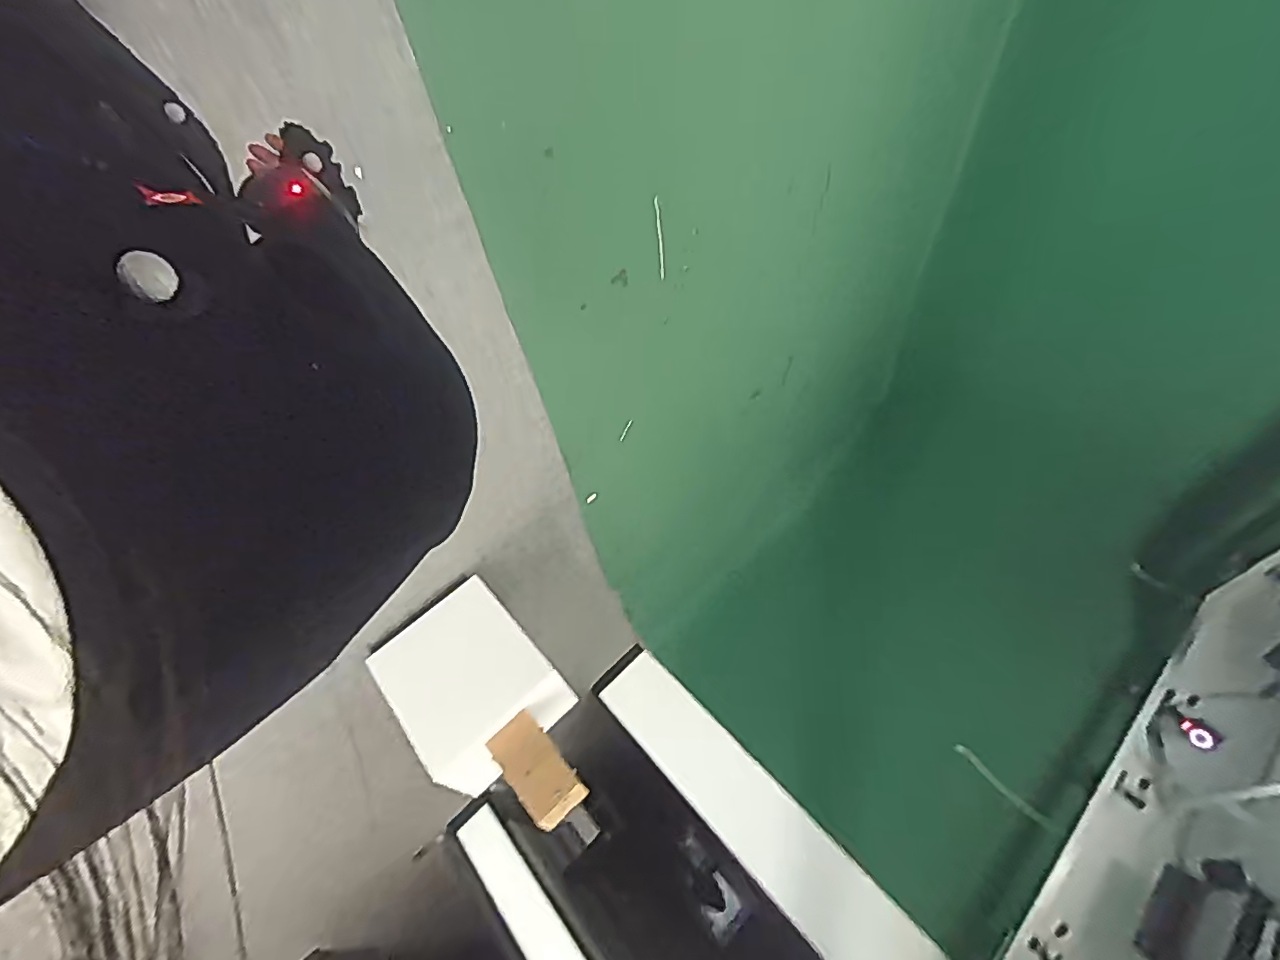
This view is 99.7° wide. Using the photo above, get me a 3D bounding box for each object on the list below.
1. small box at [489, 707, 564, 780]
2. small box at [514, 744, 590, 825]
[{"bbox_3d":[-0.405,0.944,1.922,0.179,0.176,0.168,-39,146,-19],"label":"small box"},{"bbox_3d":[-0.298,1.033,1.841,0.168,0.176,0.179,-40,146,-17],"label":"small box"}]
